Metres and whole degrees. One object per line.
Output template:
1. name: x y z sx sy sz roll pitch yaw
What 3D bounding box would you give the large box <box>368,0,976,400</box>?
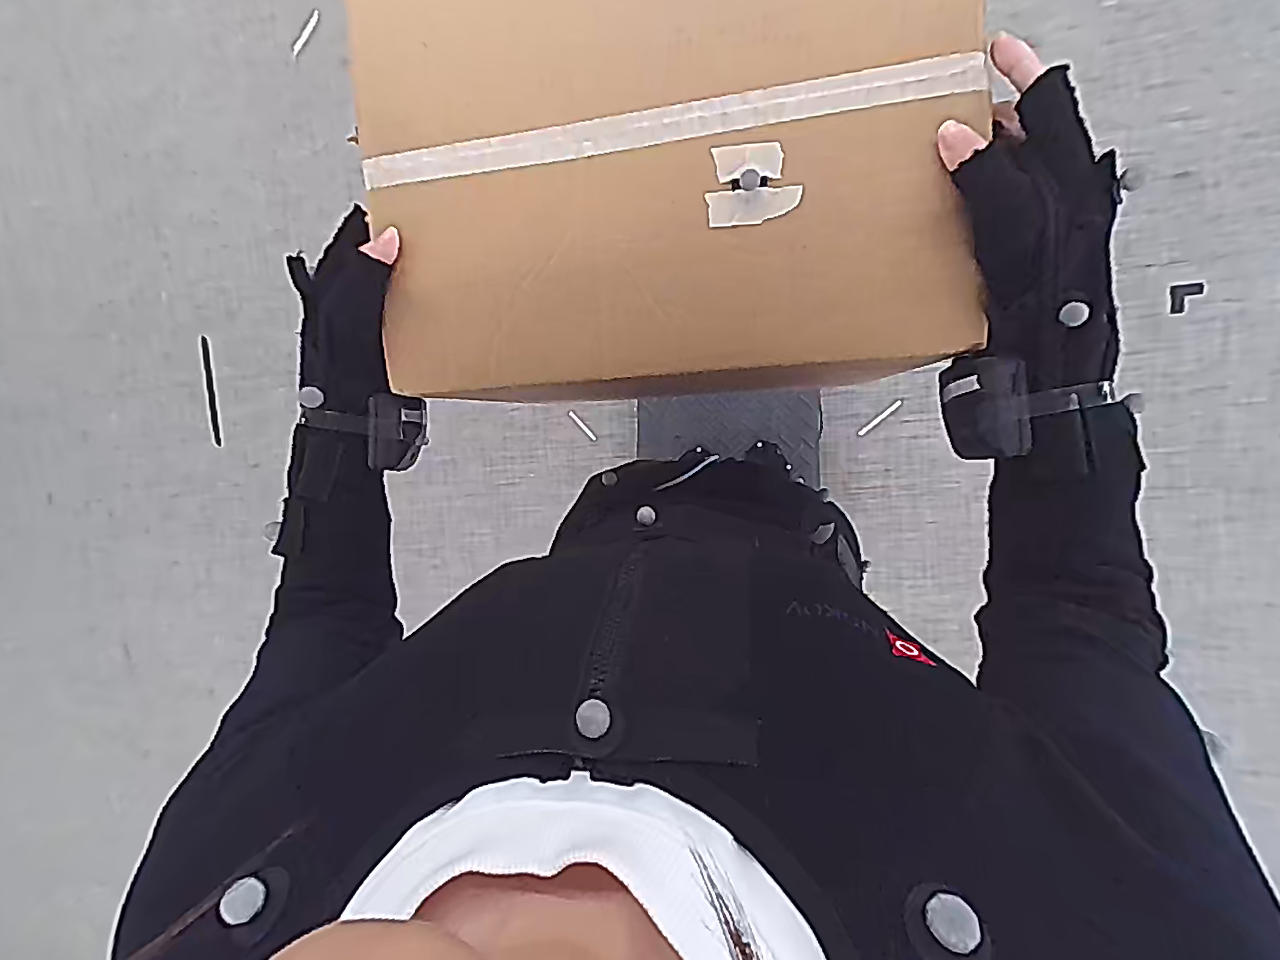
1. large box: 0.032 -0.251 0.509 0.408 0.320 0.320 -3 97 10
